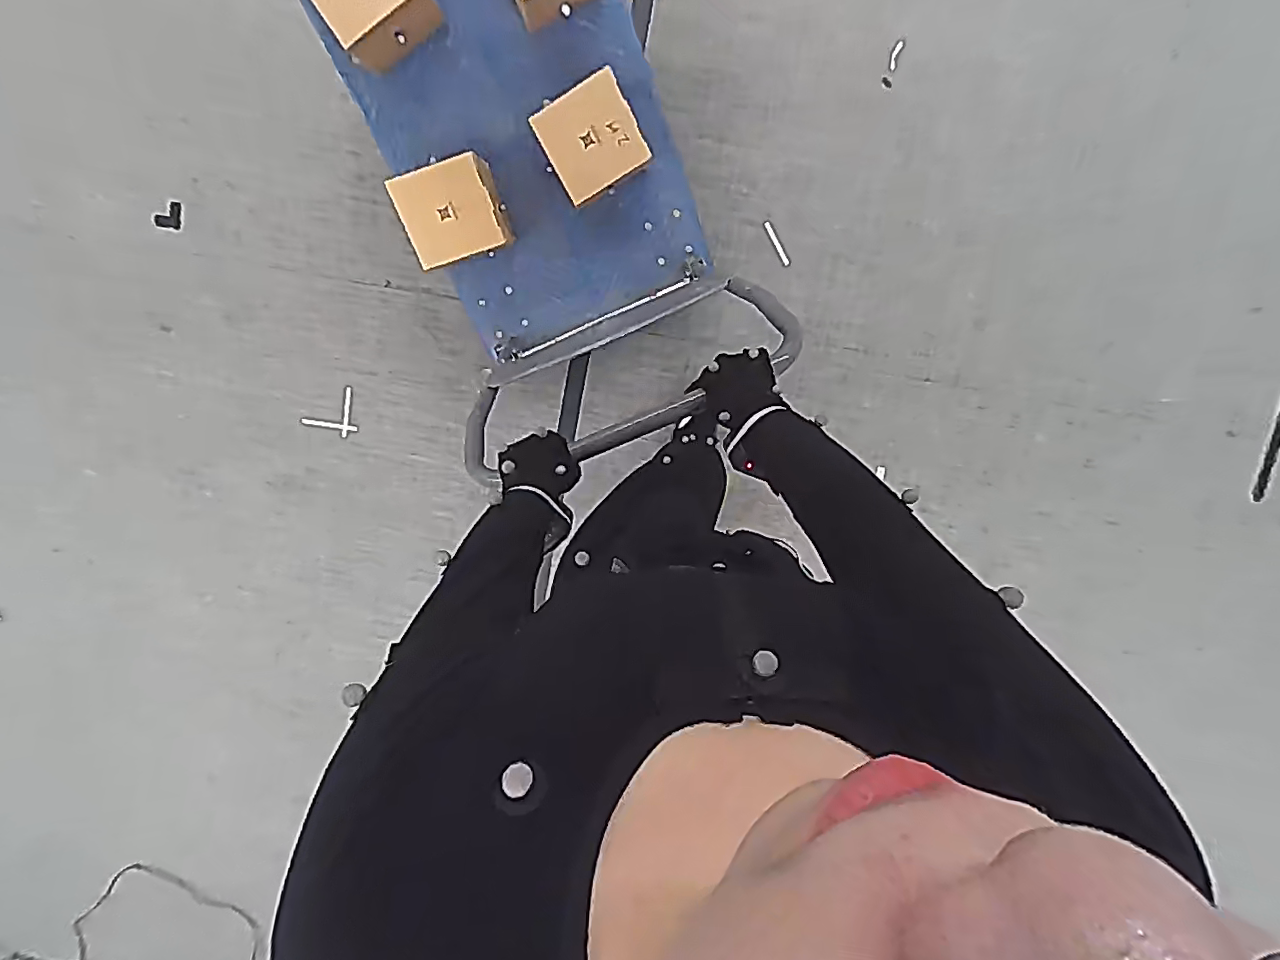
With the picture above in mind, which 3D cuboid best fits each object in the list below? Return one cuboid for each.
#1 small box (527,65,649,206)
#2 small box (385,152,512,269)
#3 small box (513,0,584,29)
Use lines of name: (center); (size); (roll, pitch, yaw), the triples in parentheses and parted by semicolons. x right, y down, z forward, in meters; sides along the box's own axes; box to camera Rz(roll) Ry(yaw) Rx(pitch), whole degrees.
small box: (-0.100, -0.669, 1.079); (0.179, 0.176, 0.168); (-29, 113, 8)
small box: (-0.380, -0.544, 1.110); (0.179, 0.176, 0.168); (-19, 114, 2)
small box: (-0.178, -0.952, 0.947); (0.168, 0.176, 0.179); (-26, 115, 7)
